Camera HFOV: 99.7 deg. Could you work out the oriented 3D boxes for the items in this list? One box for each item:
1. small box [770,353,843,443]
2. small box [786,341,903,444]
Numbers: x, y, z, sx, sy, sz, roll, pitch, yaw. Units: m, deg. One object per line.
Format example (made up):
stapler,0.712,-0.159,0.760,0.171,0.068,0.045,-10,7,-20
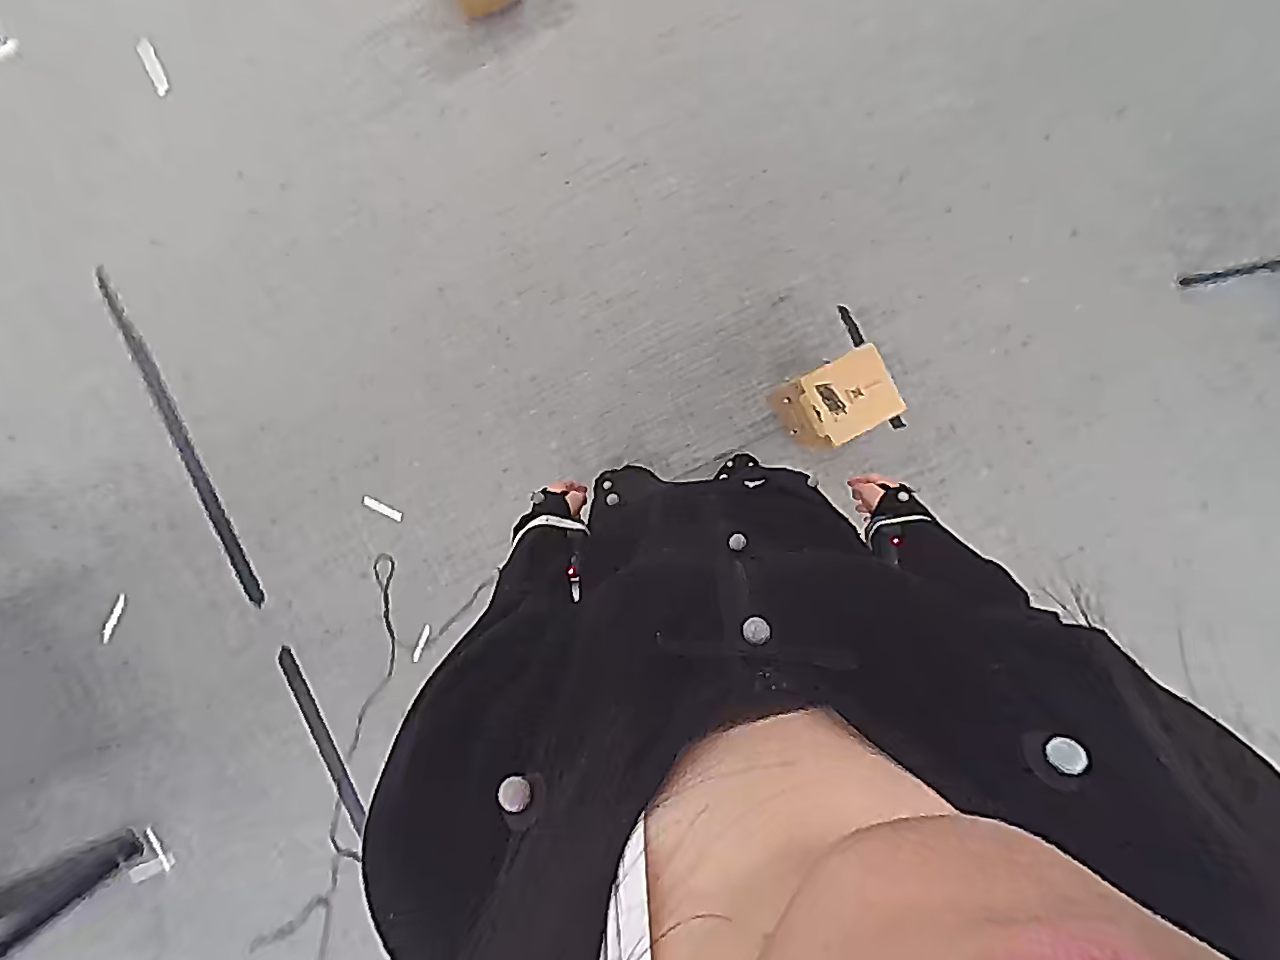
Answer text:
small box,0.452,-0.202,1.392,0.179,0.176,0.168,-29,93,2
small box,0.449,-0.188,1.228,0.179,0.176,0.168,-28,92,3
